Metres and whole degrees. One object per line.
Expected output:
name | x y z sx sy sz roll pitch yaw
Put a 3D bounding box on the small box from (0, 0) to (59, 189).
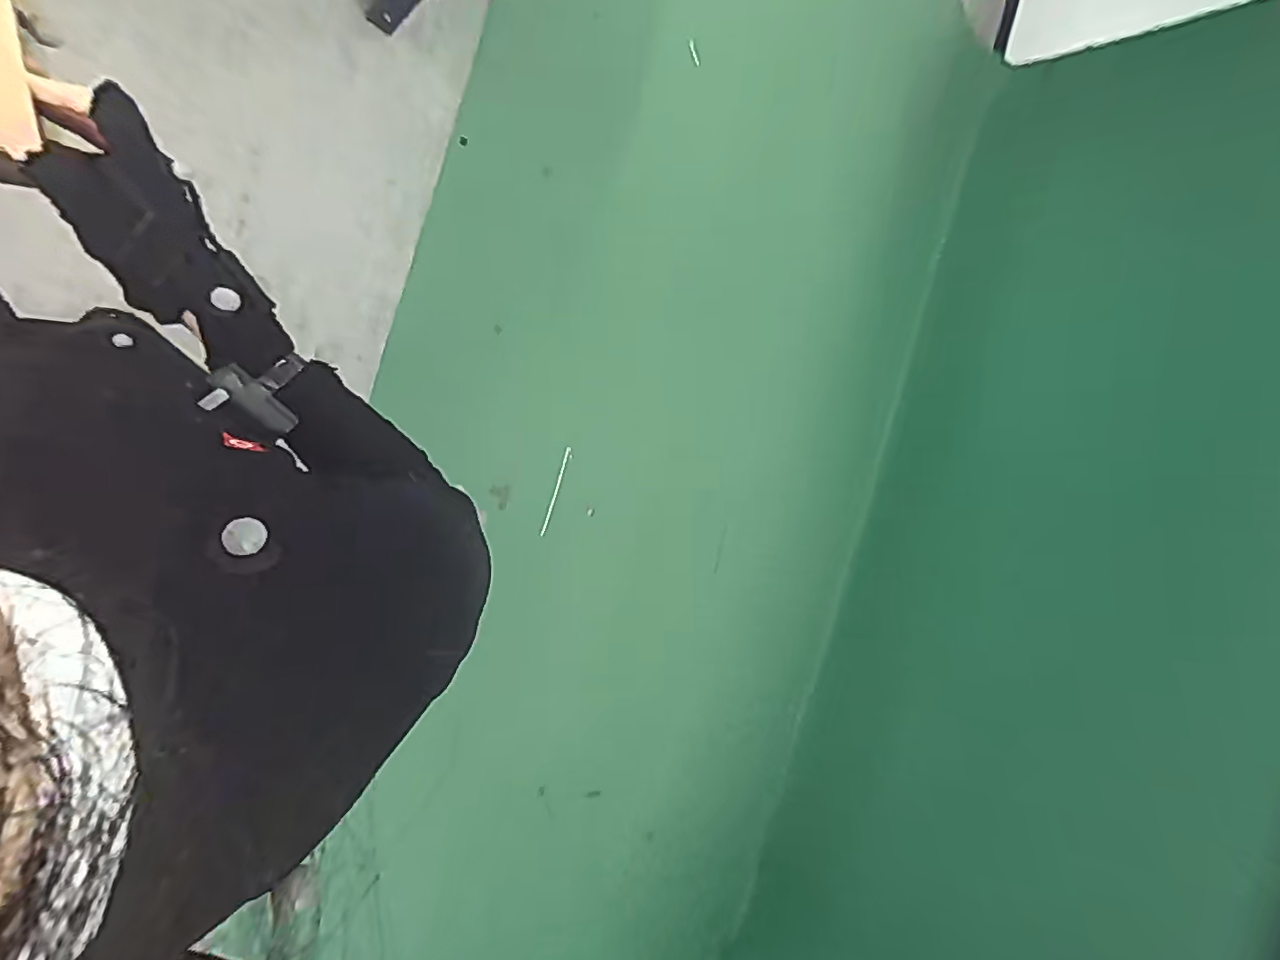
small box | -0.470 -0.285 0.307 0.168 0.176 0.179 -10 113 -40
